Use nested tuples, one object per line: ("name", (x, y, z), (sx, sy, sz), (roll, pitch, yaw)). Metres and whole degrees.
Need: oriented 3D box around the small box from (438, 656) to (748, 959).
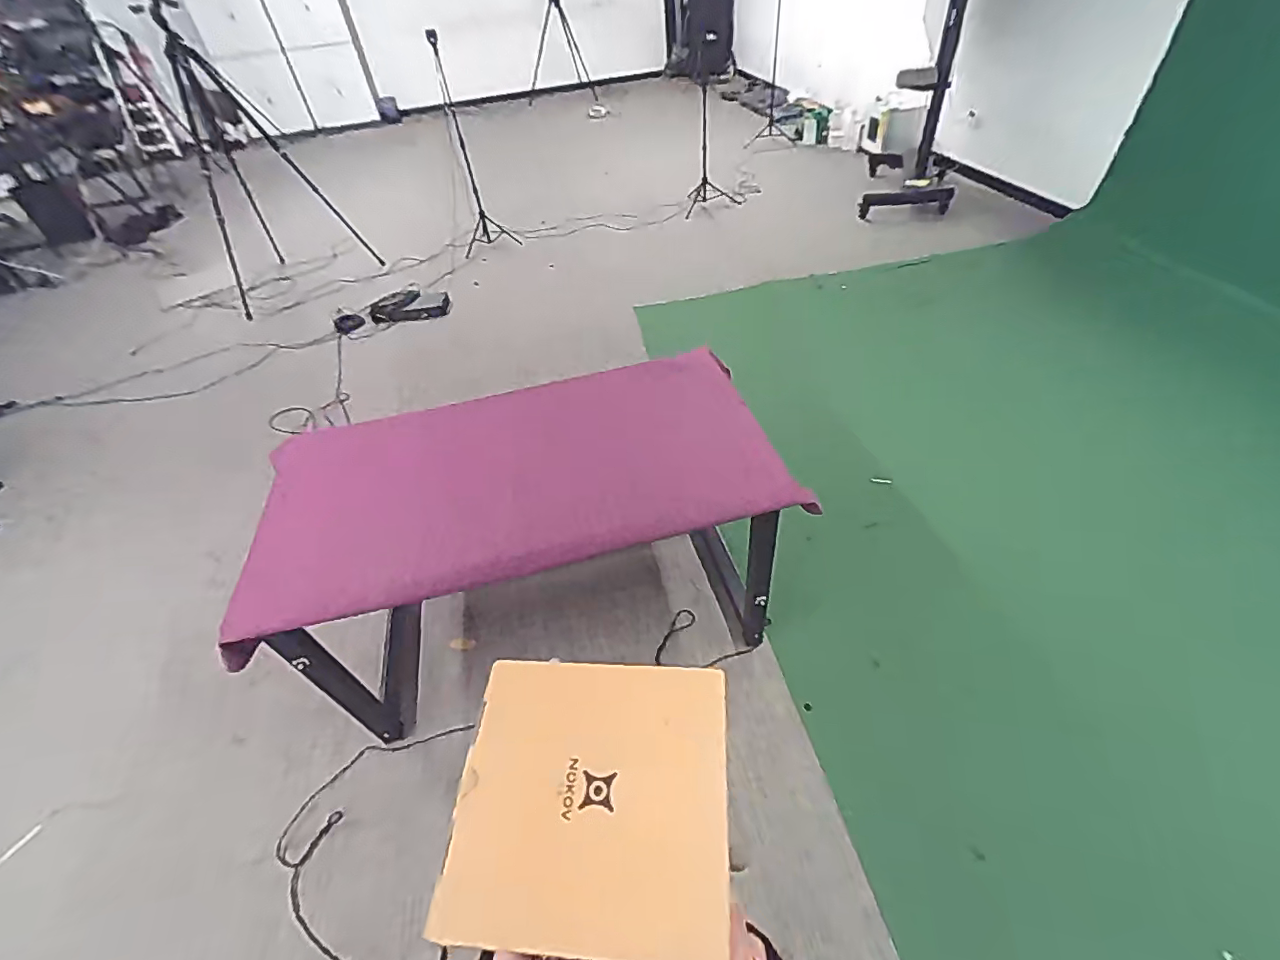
("small box", (-0.016, 0.248, 0.408), (0.179, 0.176, 0.168), (-1, 49, 7))
